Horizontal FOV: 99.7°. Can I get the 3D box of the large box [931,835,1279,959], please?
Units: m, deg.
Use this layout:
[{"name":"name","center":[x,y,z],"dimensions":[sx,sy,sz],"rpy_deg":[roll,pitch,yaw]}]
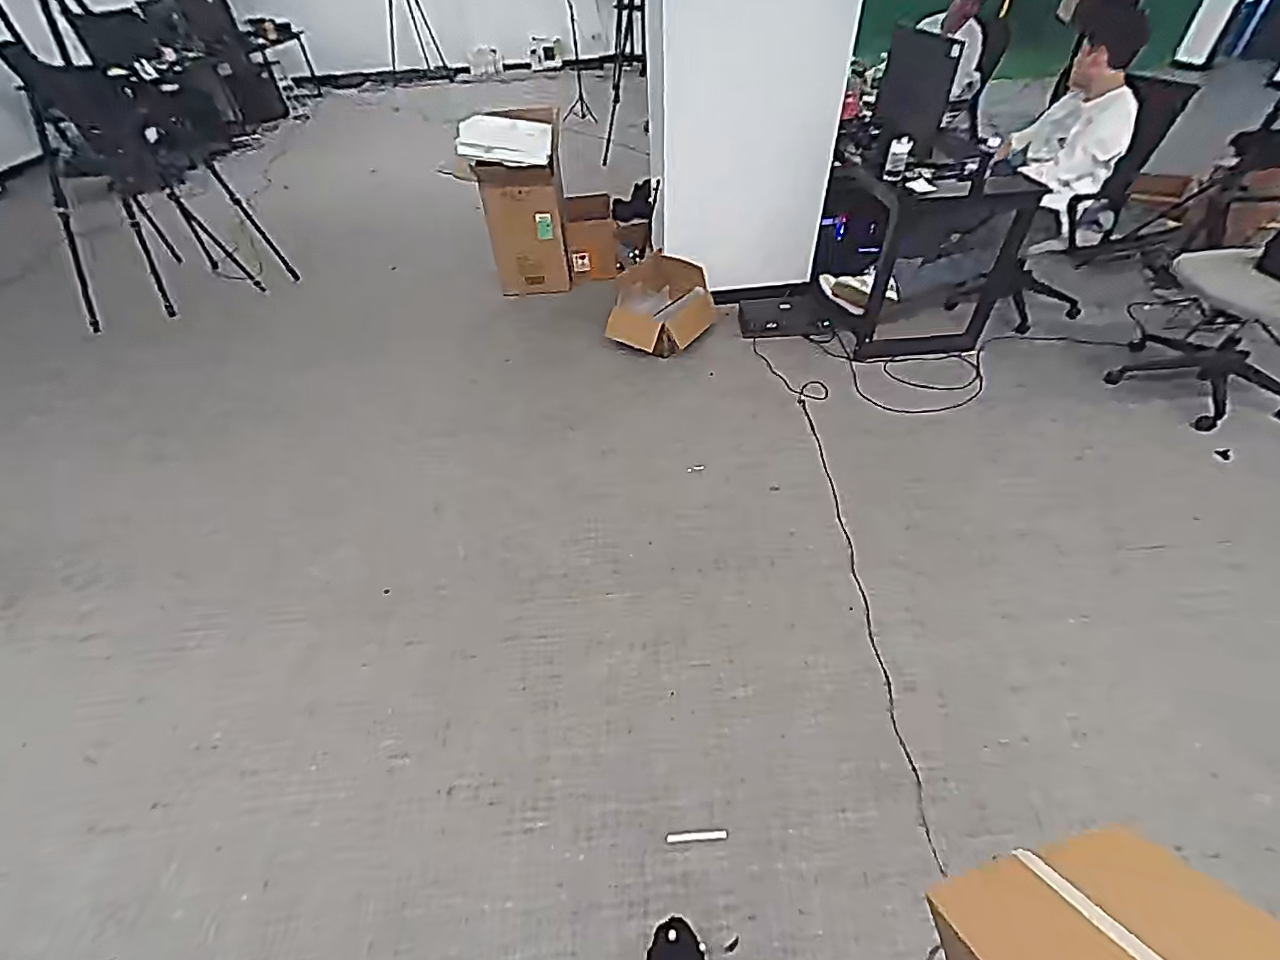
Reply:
[{"name":"large box","center":[0.611,0.690,0.587],"dimensions":[0.320,0.408,0.320],"rpy_deg":[-16,86,-3]}]
